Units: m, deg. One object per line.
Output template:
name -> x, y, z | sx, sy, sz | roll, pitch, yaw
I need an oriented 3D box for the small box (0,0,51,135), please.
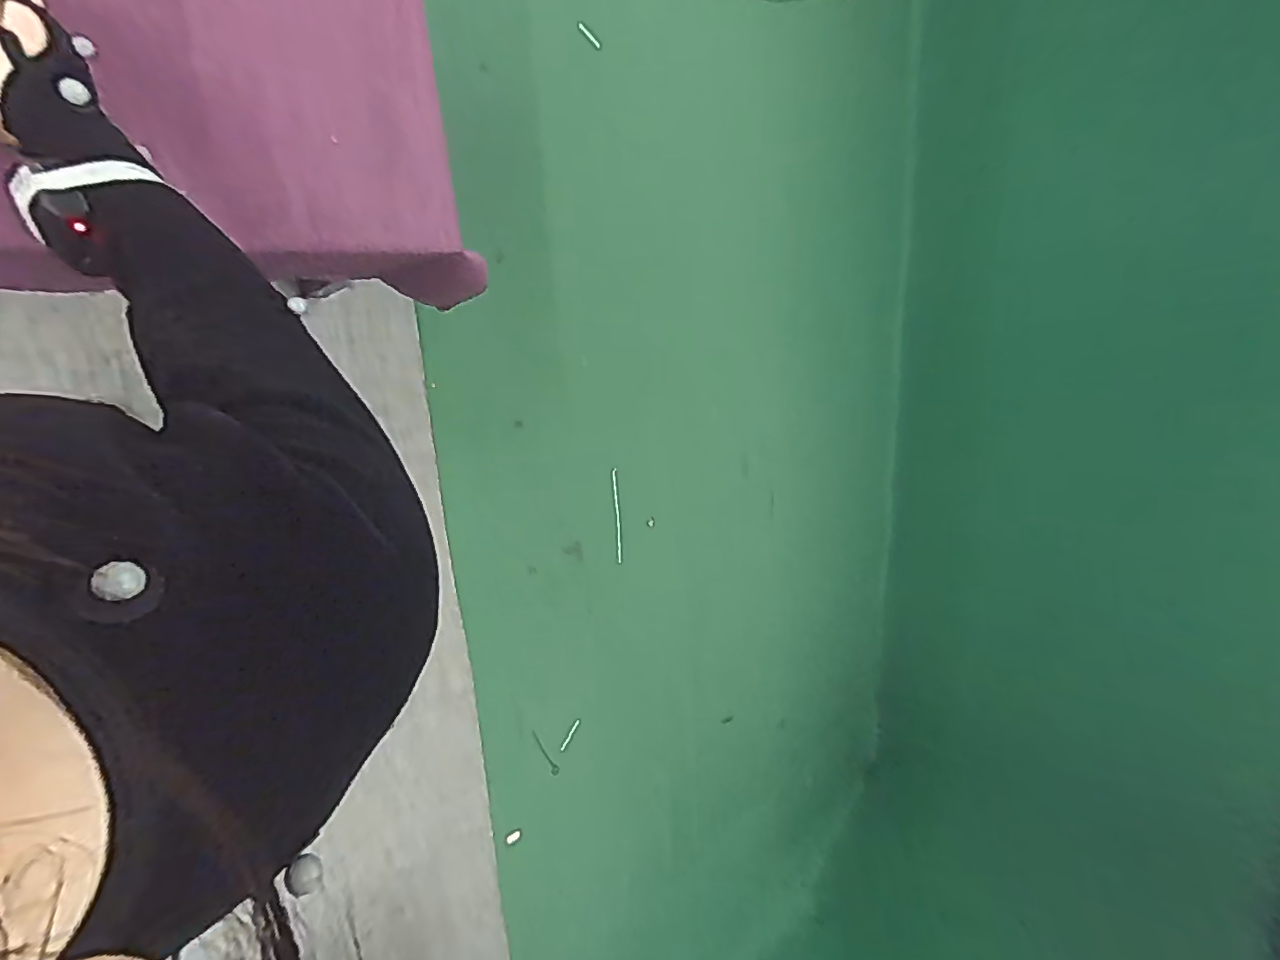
small box -> -0.577, -0.377, 0.386 | 0.179, 0.176, 0.168 | -12, 106, -40
